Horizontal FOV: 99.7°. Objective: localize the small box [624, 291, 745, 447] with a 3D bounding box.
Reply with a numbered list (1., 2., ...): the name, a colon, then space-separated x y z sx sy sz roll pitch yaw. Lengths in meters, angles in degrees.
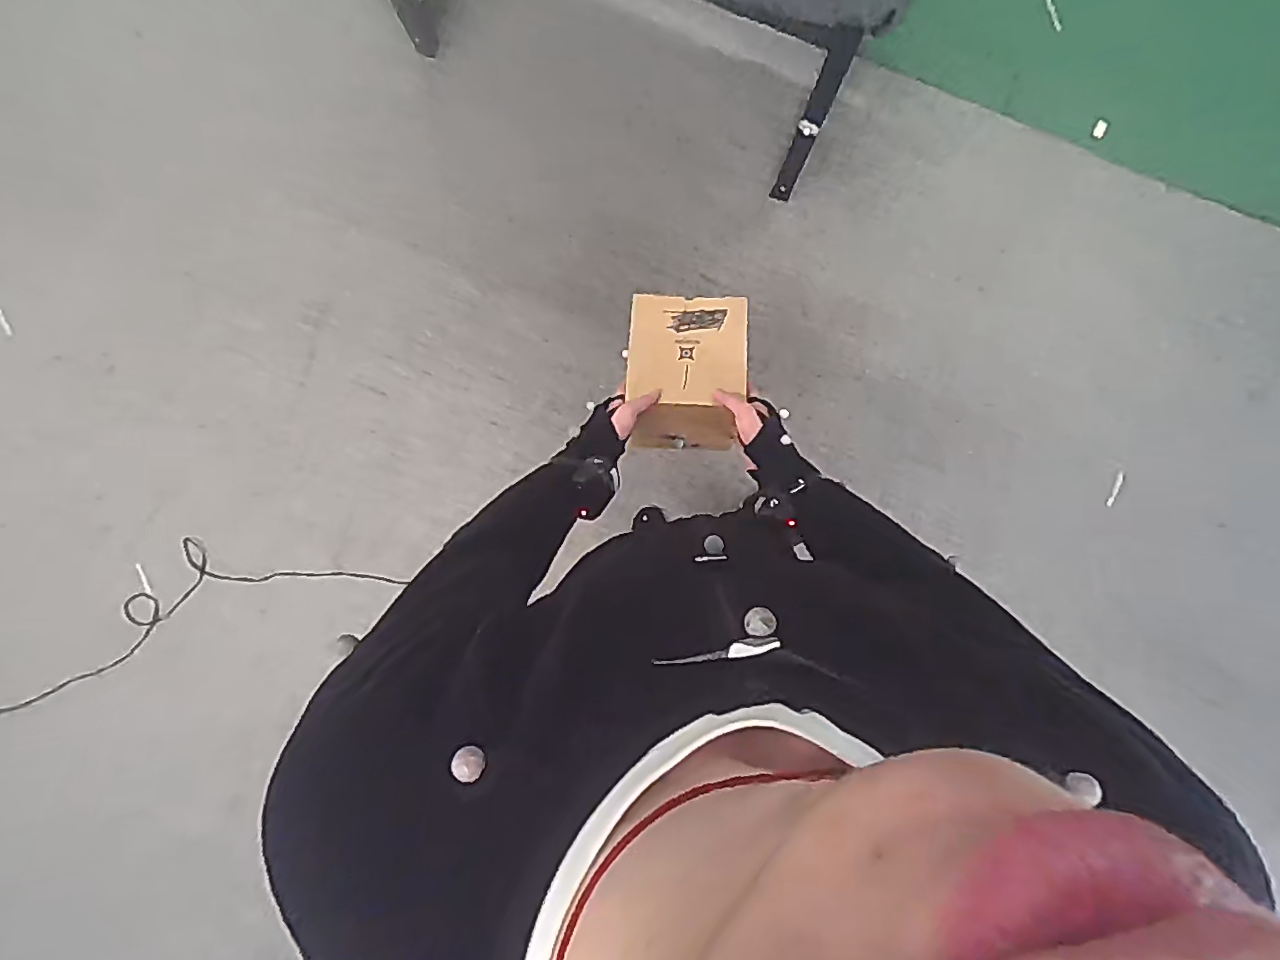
1. small box: 0.067 -0.164 0.830 0.168 0.176 0.179 2 74 4
